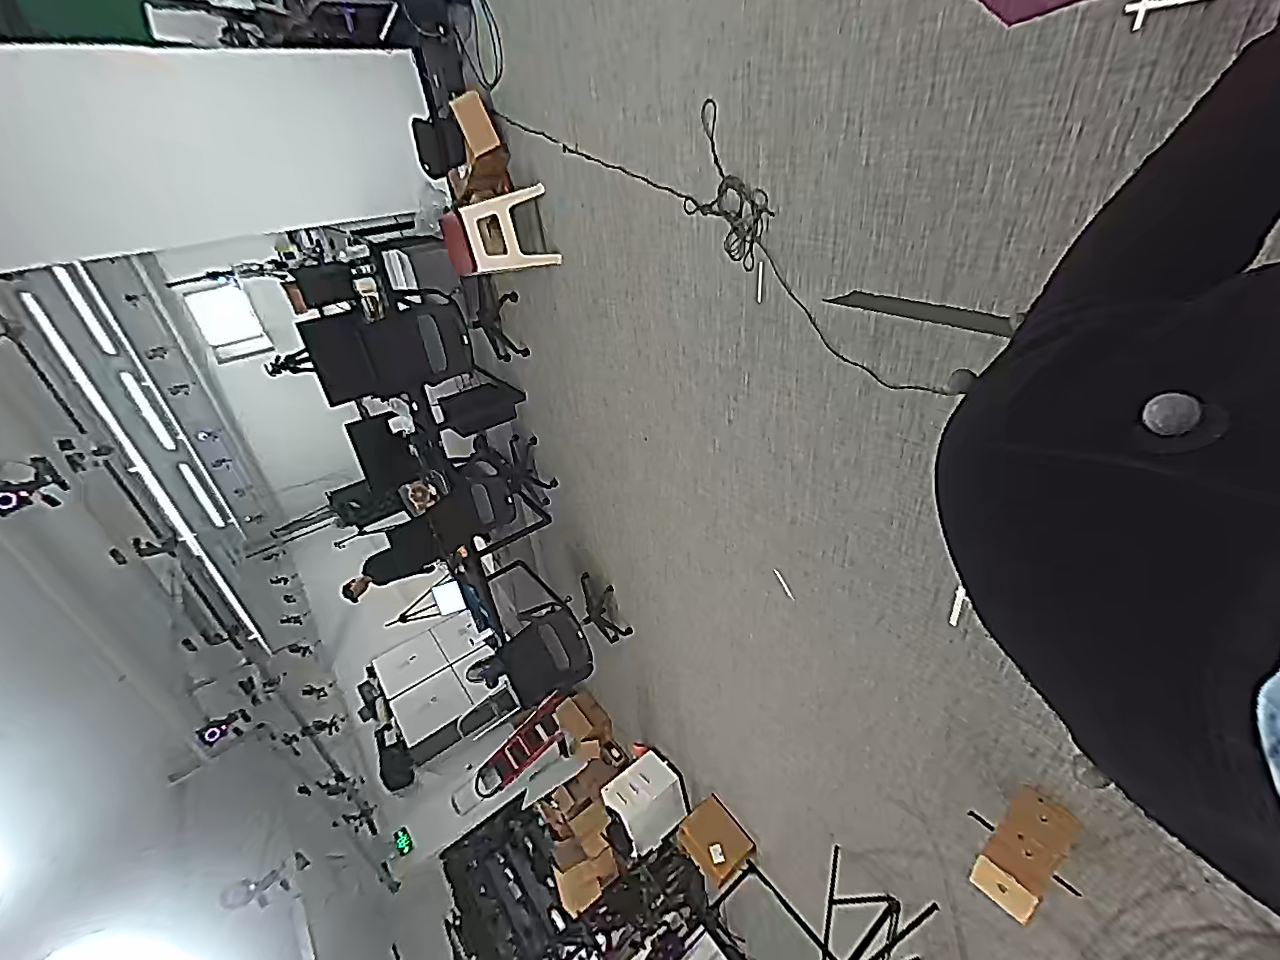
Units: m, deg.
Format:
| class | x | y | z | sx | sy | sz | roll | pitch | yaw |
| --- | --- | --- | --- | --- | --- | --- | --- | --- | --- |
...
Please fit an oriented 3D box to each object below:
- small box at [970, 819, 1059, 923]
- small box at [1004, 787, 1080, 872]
| class | x | y | z | sx | sy | sz | roll | pitch | yaw |
| --- | --- | --- | --- | --- | --- | --- | --- | --- | --- |
| small box | 1.184 | 1.230 | 1.708 | 0.168 | 0.176 | 0.179 | 29 | 136 | 46 |
| small box | 1.312 | 1.165 | 1.786 | 0.168 | 0.176 | 0.179 | 29 | 137 | 47 |
